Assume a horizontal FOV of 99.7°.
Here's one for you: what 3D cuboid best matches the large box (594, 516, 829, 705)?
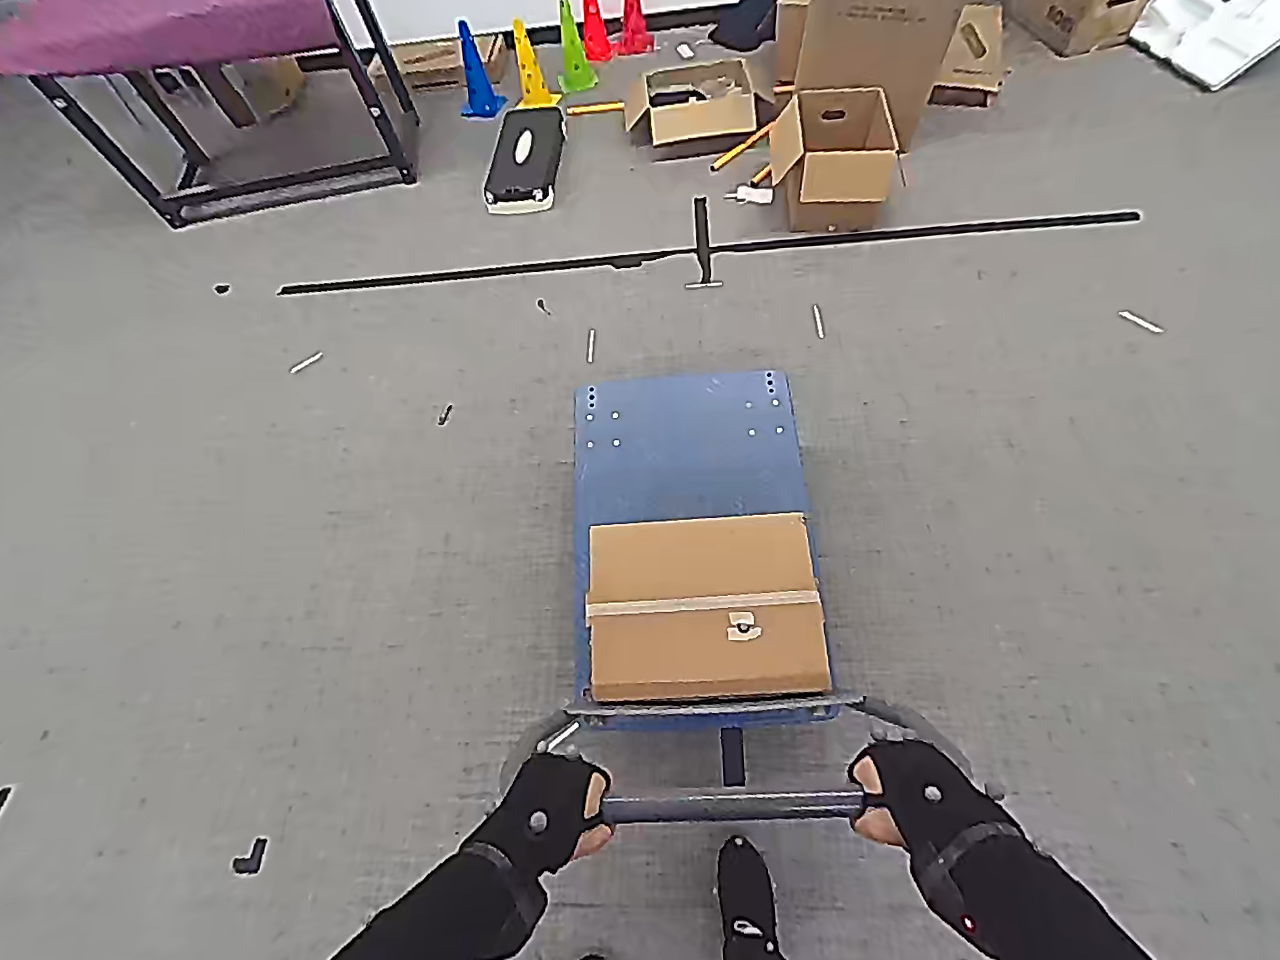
[{"bbox_3d":[0.126,0.282,1.119,0.408,0.320,0.320,-4,69,2],"label":"large box"}]
